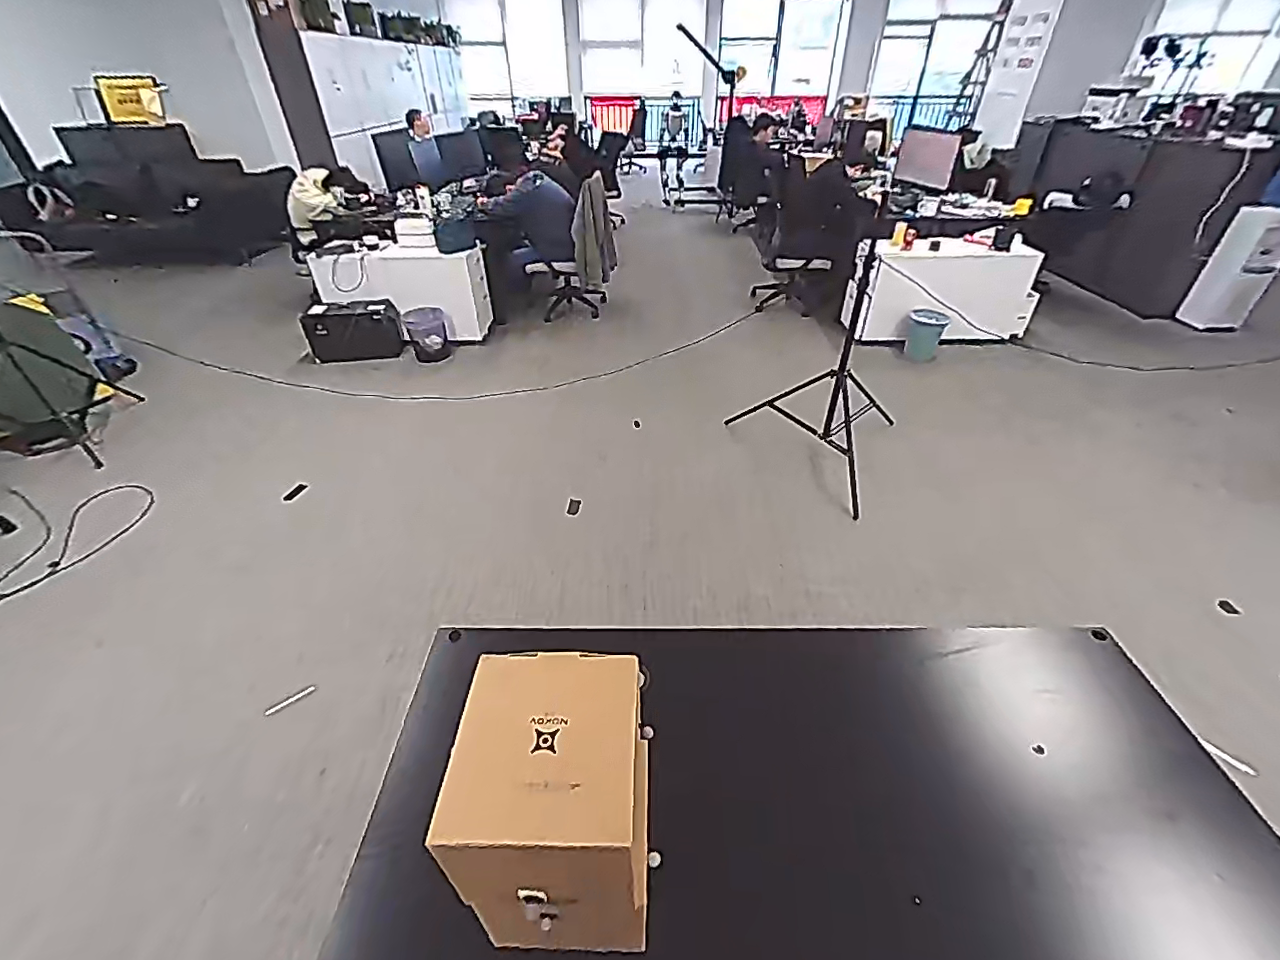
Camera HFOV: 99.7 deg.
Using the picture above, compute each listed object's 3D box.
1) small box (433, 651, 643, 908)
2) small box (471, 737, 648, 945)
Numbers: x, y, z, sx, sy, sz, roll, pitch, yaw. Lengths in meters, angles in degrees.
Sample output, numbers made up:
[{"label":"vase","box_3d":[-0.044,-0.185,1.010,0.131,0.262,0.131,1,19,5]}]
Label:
[{"label":"small box","box_3d":[-0.083,0.296,0.544,0.168,0.176,0.179,-1,38,1]},{"label":"small box","box_3d":[-0.079,0.425,0.643,0.179,0.176,0.168,1,37,1]}]
